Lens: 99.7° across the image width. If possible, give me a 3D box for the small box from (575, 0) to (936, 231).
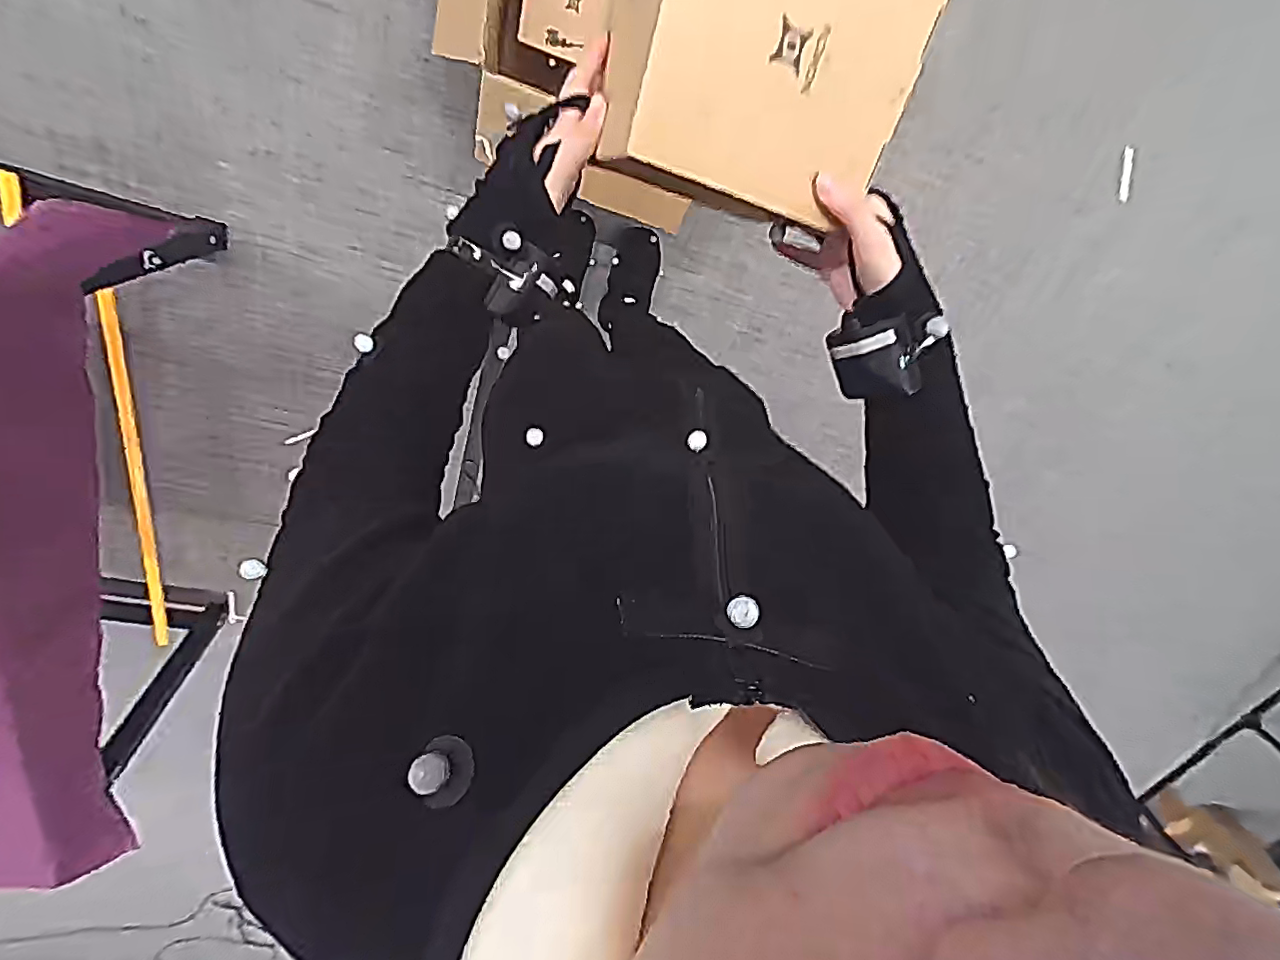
[{"bbox_3d":[0.065,-0.295,0.389,0.179,0.176,0.168,7,116,-24],"label":"small box"}]
